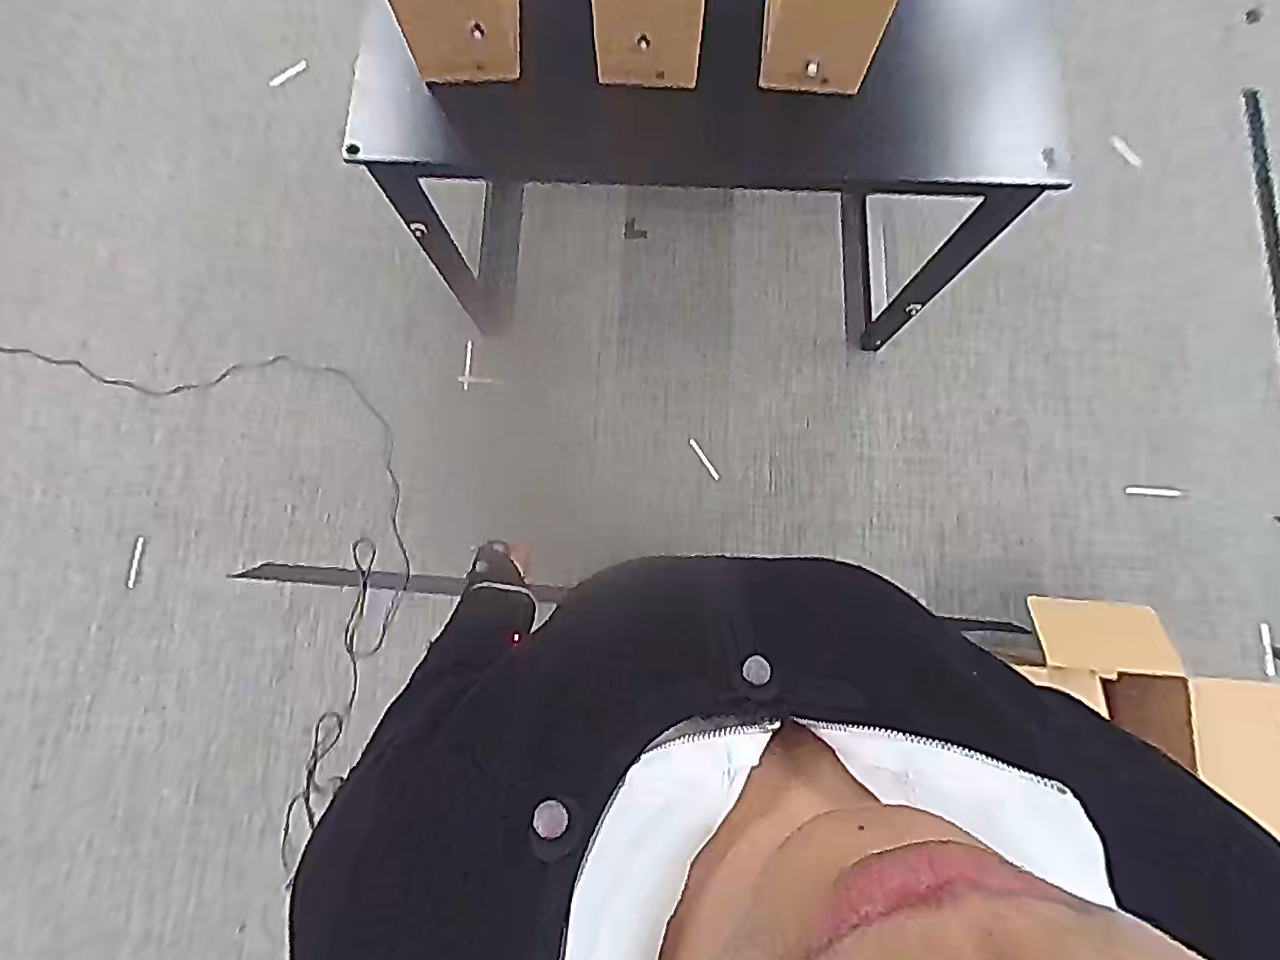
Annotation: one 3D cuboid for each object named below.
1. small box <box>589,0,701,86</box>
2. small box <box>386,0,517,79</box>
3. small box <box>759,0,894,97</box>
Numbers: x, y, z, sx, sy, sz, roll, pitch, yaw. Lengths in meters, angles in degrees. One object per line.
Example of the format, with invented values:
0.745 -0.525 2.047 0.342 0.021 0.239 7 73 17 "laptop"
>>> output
0.013 -0.768 0.856 0.168 0.176 0.179 4 80 1 "small box"
-0.294 -0.780 0.862 0.168 0.176 0.179 -2 79 -1 "small box"
0.288 -0.757 0.853 0.168 0.176 0.179 5 81 2 "small box"
